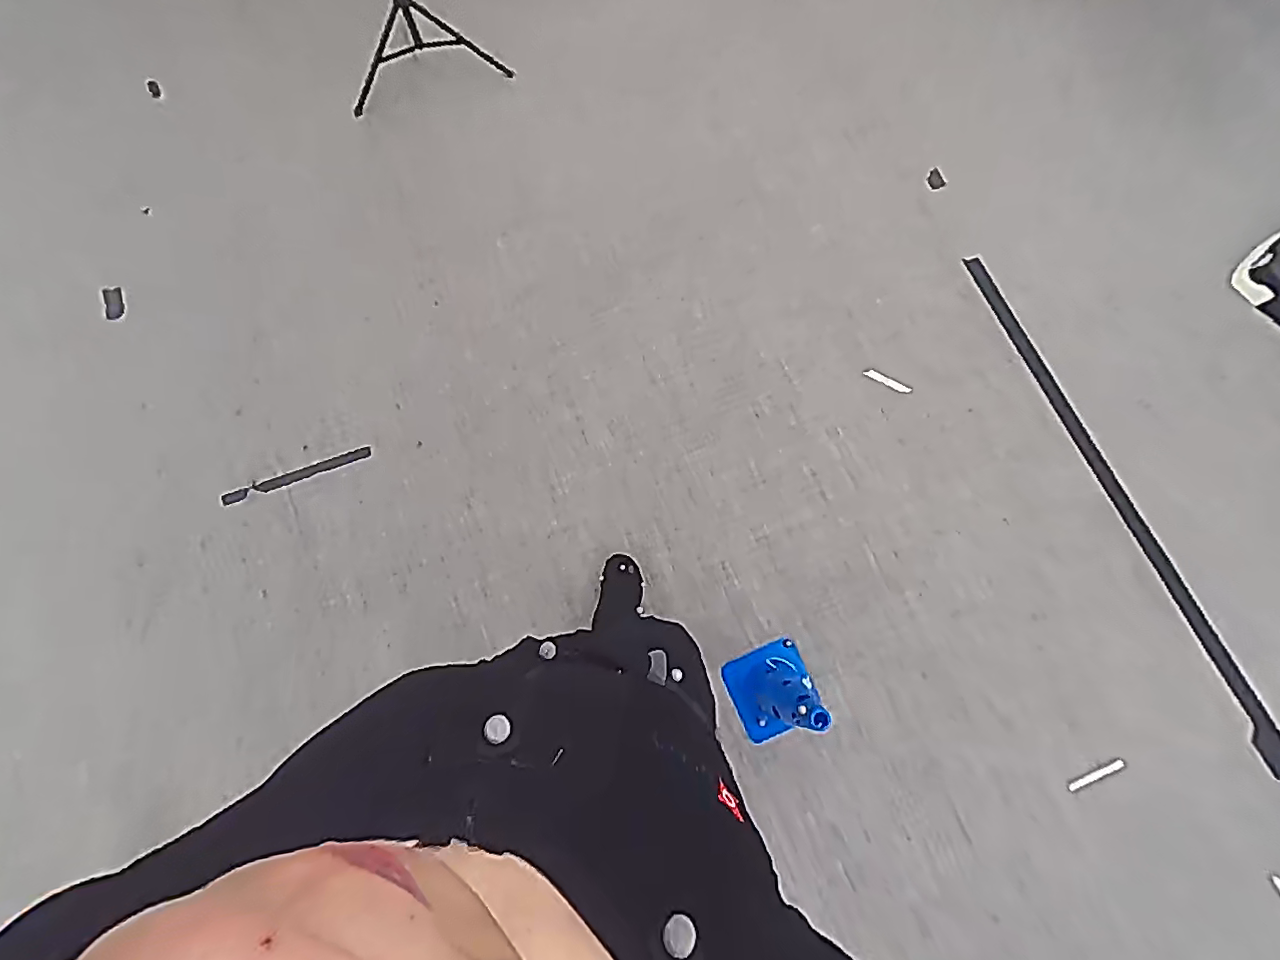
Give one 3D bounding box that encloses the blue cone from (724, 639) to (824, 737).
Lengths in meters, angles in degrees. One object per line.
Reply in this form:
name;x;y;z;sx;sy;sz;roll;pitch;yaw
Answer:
blue cone;0.320;0.472;1.155;0.193;0.380;0.192;-21;78;-5
